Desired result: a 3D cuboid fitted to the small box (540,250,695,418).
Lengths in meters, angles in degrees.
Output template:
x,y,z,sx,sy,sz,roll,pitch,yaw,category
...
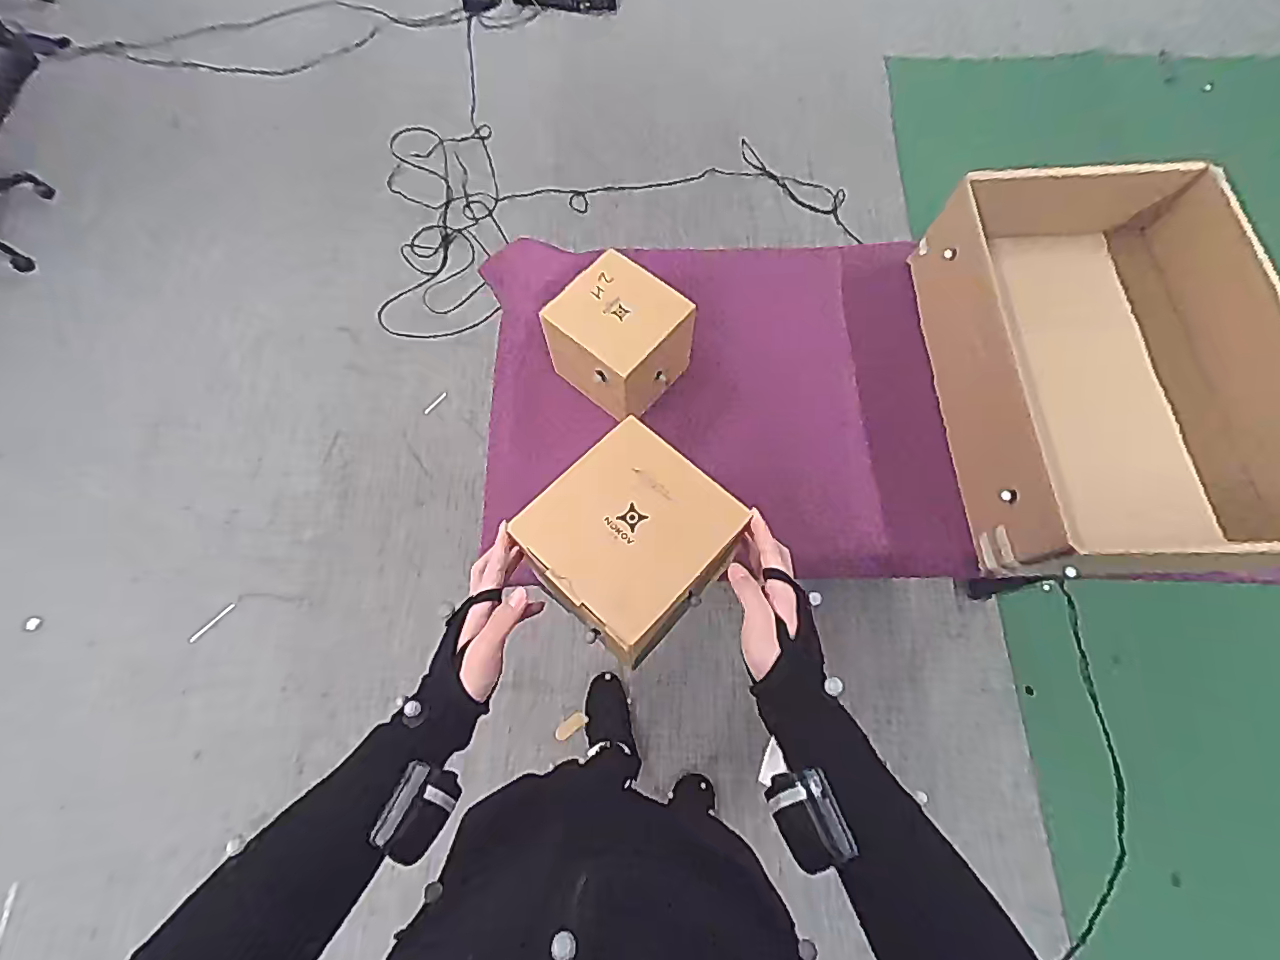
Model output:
x,y,z,sx,sy,sz,roll,pitch,yaw,category
-0.032,-0.225,0.880,0.179,0.176,0.168,39,74,14,small box
